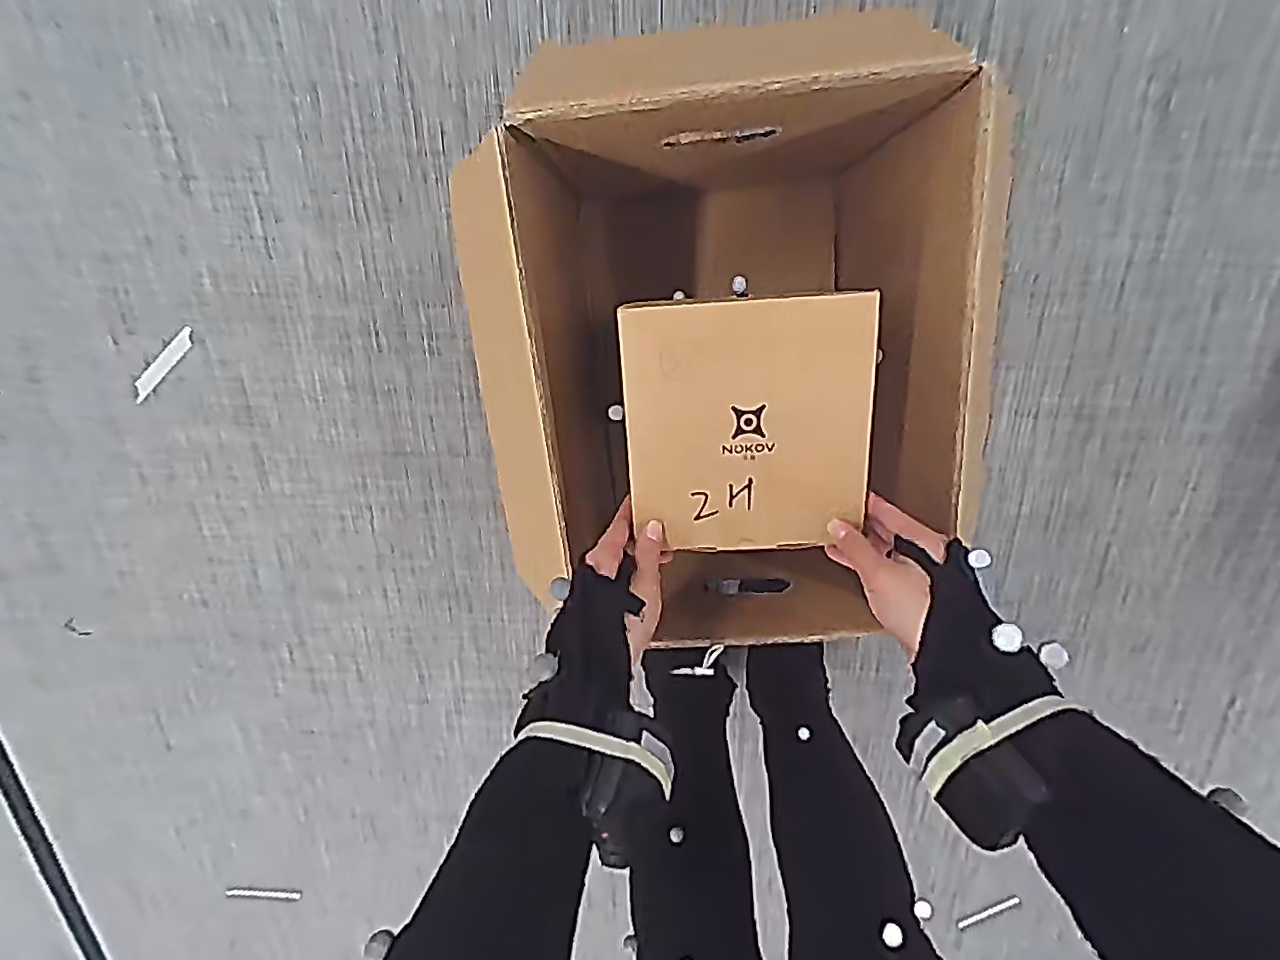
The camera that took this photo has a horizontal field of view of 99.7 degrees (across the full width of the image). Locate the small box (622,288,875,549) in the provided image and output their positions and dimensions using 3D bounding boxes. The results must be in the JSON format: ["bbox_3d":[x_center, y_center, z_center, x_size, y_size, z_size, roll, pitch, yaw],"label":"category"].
[{"bbox_3d":[0.075,-0.059,0.444,0.168,0.176,0.179,-2,109,4],"label":"small box"}]
